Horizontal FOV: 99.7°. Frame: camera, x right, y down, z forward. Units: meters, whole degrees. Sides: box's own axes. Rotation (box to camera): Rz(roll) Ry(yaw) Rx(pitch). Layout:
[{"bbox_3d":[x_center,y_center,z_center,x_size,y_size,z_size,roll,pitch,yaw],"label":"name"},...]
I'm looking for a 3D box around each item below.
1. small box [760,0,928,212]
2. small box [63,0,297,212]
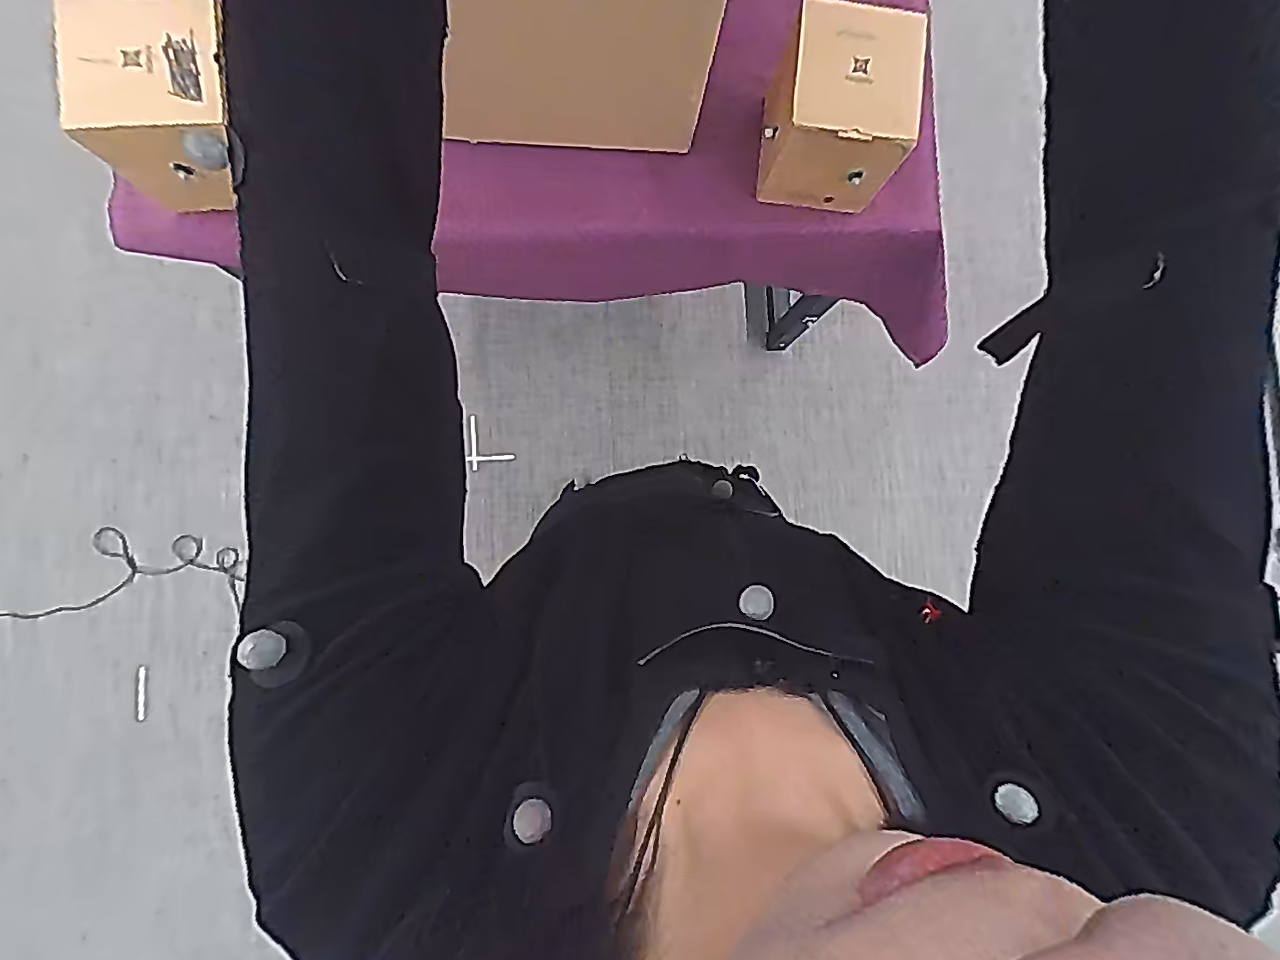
[{"bbox_3d":[0.275,-0.509,0.762,0.168,0.176,0.179,6,85,-4],"label":"small box"},{"bbox_3d":[-0.572,-0.473,0.700,0.179,0.176,0.168,-6,85,-5],"label":"small box"}]
